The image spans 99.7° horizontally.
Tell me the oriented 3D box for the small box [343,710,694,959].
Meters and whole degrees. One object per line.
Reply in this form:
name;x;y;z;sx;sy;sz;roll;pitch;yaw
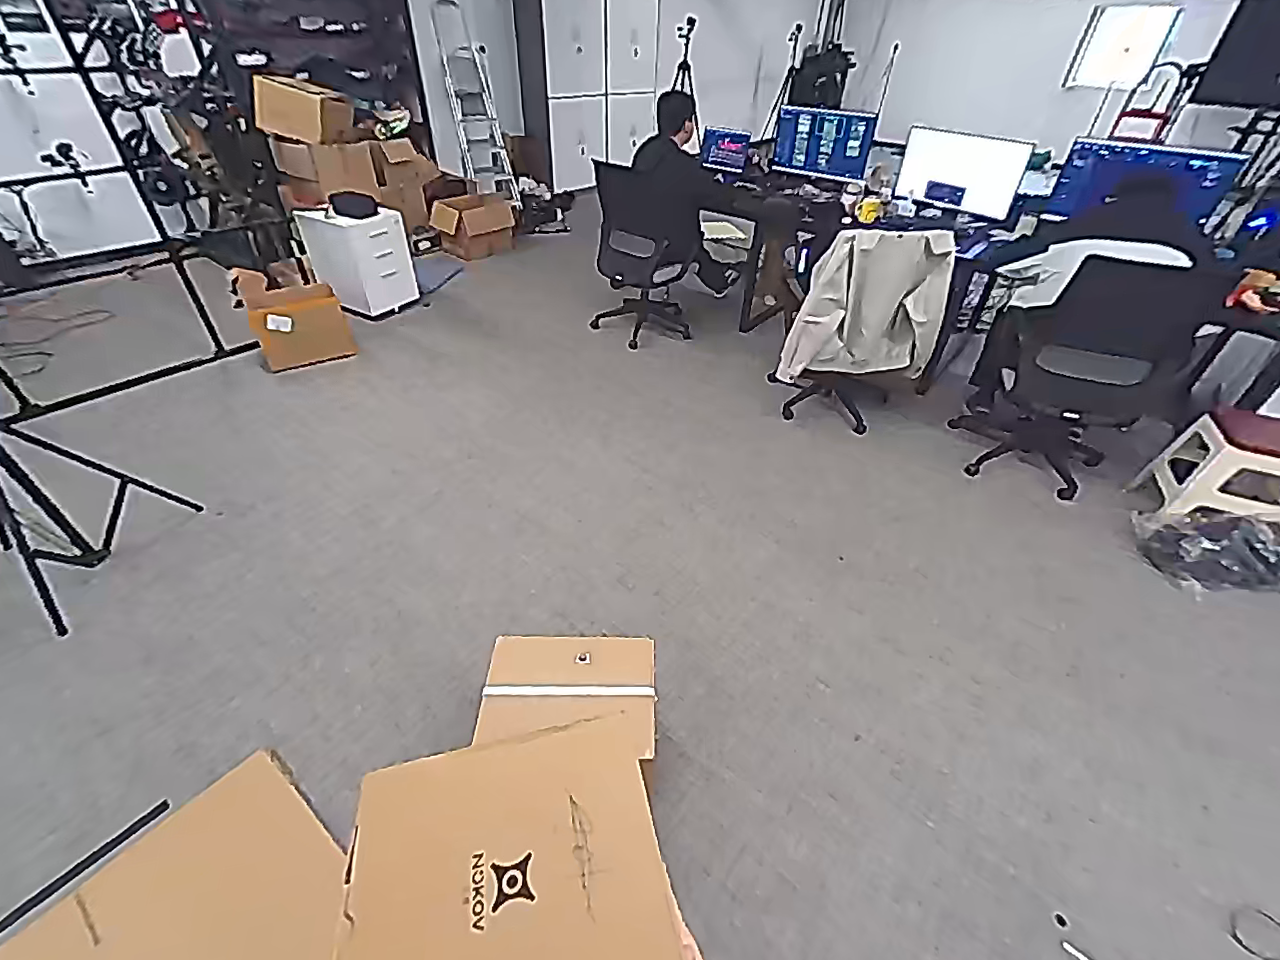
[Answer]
small box;-0.068;0.285;0.348;0.179;0.176;0.168;-9;39;-11
